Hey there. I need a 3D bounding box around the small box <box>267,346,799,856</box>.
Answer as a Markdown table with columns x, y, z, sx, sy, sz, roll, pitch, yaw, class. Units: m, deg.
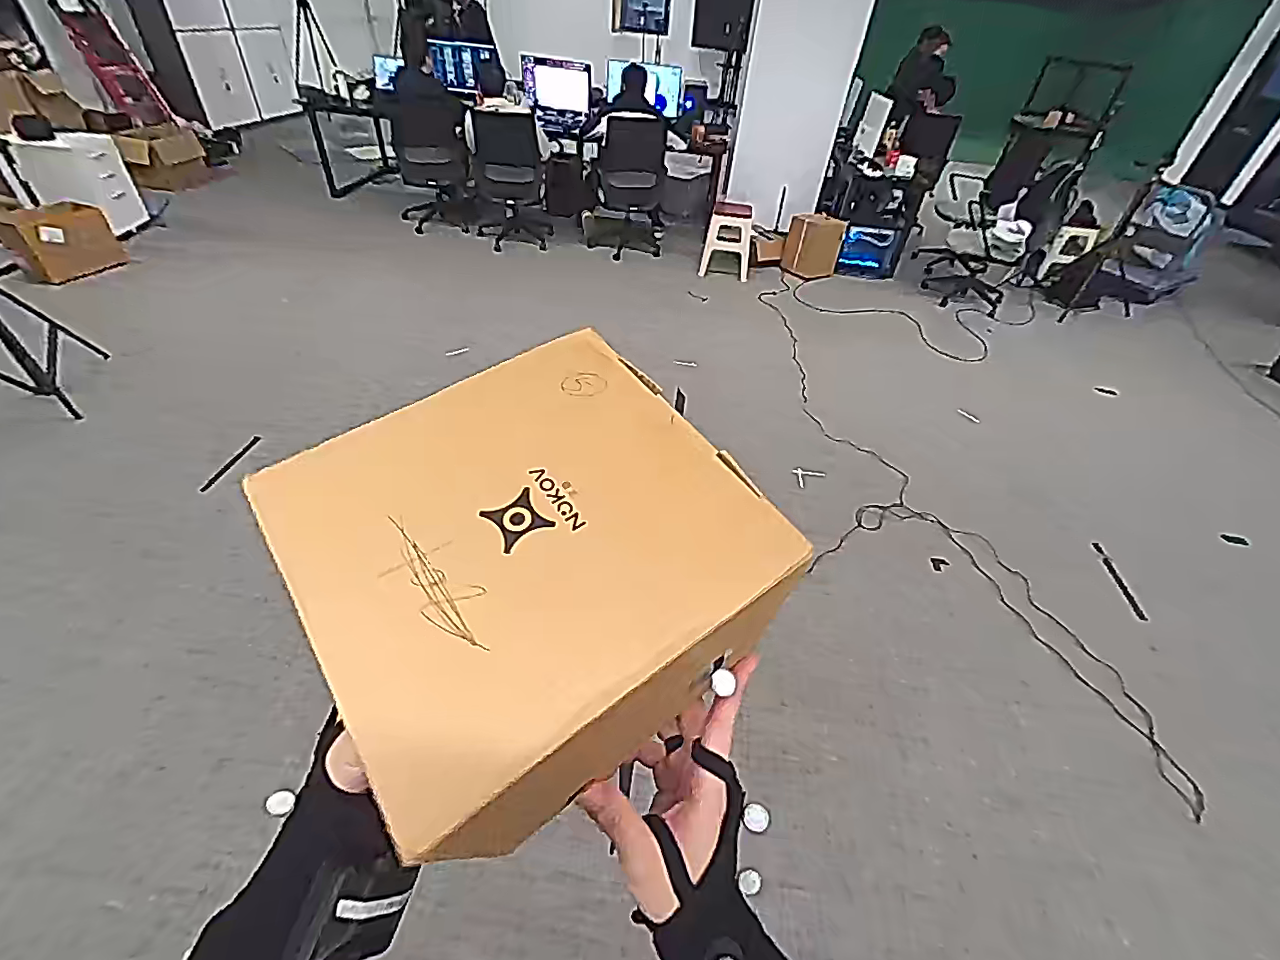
| x | y | z | sx | sy | sz | roll | pitch | yaw | class |
| --- | --- | --- | --- | --- | --- | --- | --- | --- | --- |
| -0.049 | 0.066 | 0.300 | 0.179 | 0.176 | 0.168 | -34 | 63 | -21 | small box |
